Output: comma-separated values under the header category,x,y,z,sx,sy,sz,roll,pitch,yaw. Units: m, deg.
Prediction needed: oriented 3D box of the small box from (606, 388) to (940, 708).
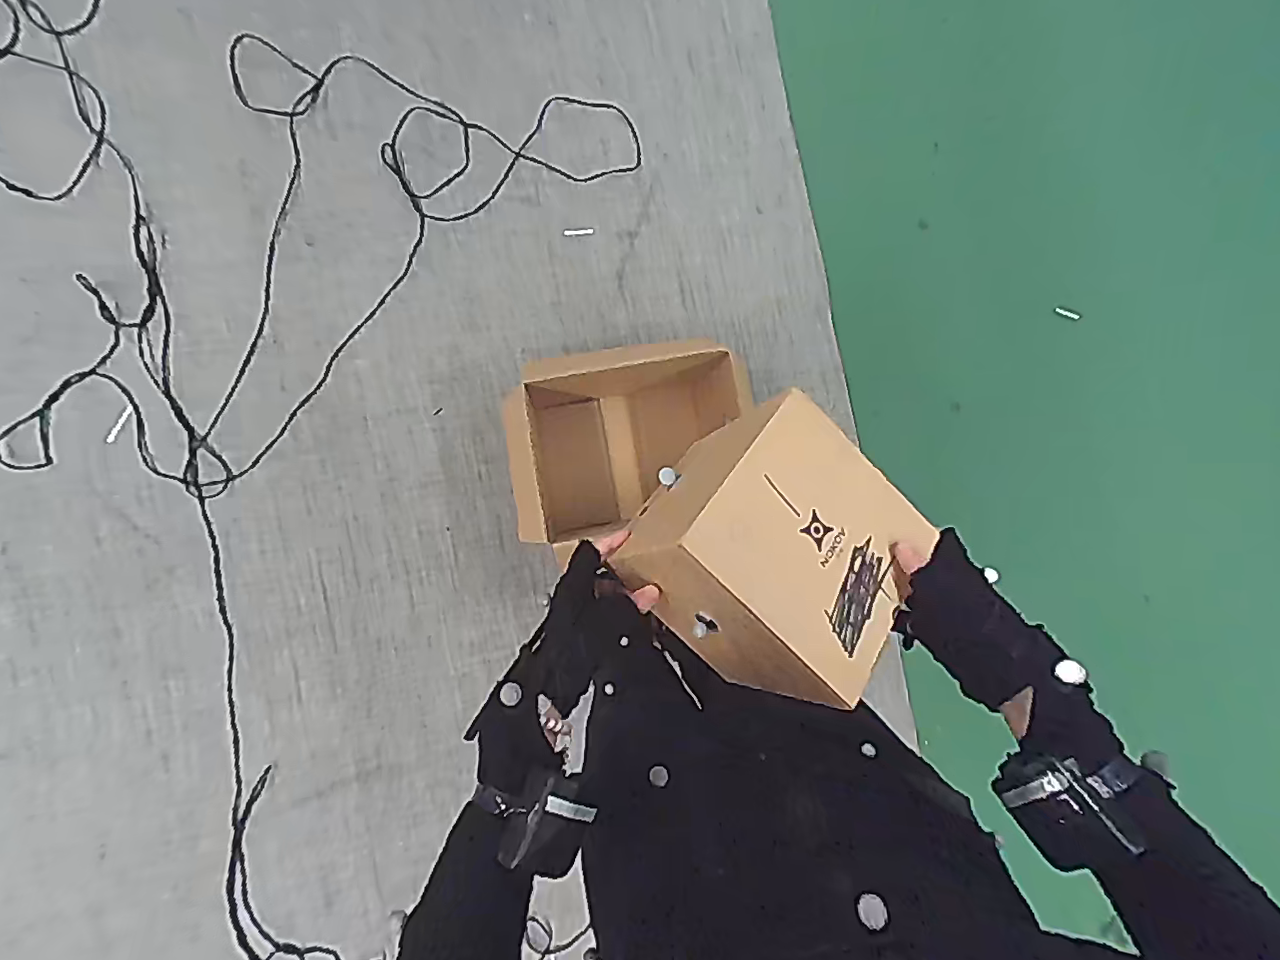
category,x,y,z,sx,sy,sz,roll,pitch,yaw
small box,0.102,0.058,0.461,0.179,0.176,0.168,43,66,-8
